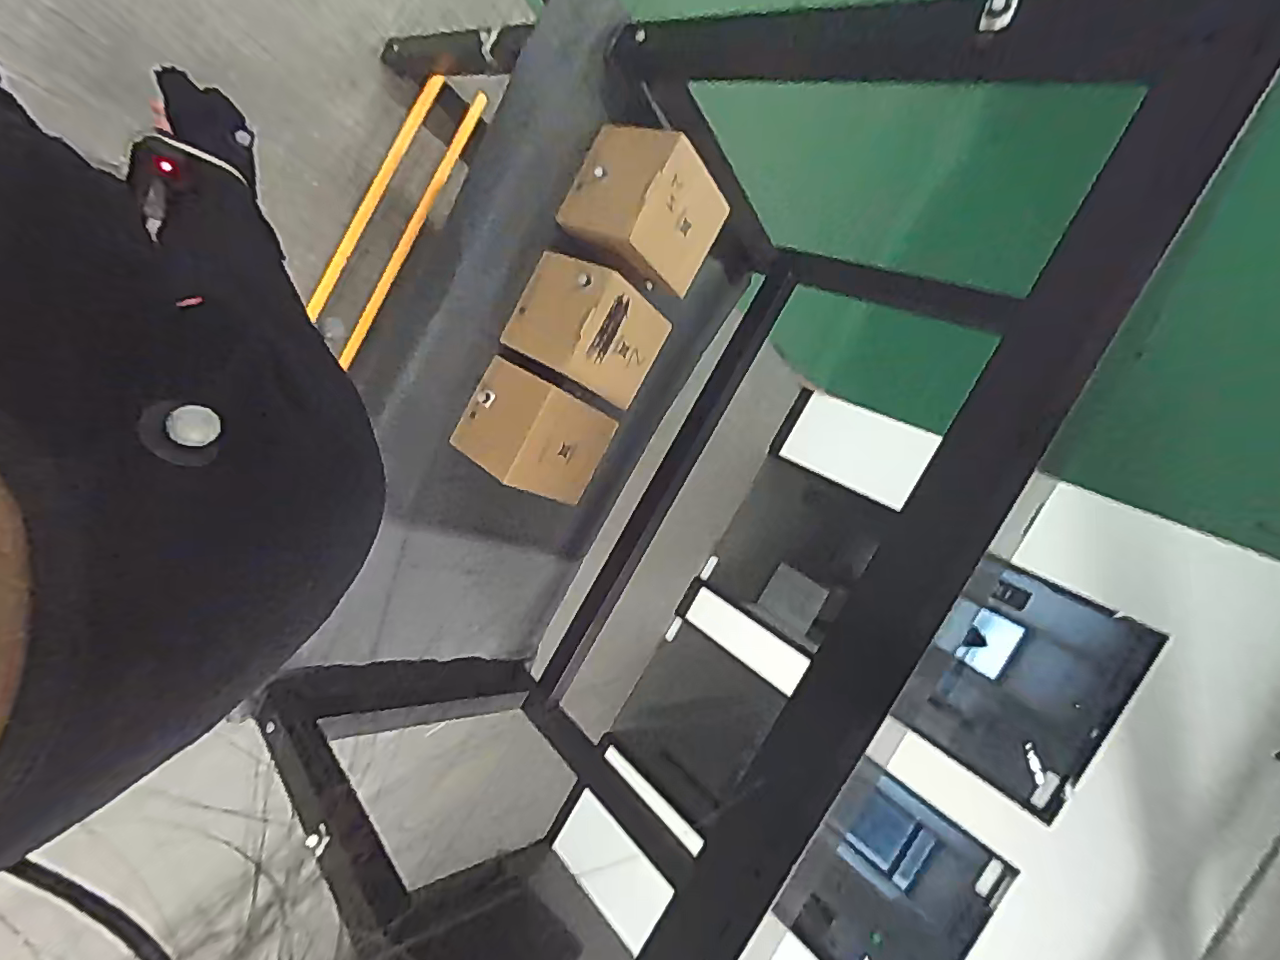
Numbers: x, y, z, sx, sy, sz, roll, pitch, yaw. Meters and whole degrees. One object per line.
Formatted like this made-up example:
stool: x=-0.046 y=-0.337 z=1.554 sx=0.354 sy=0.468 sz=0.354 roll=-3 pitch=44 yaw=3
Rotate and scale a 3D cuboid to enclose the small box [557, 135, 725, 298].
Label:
small box: x=0.002 y=-0.428 z=0.876 sx=0.179 sy=0.176 sz=0.168 roll=22 pitch=97 yaw=-55
